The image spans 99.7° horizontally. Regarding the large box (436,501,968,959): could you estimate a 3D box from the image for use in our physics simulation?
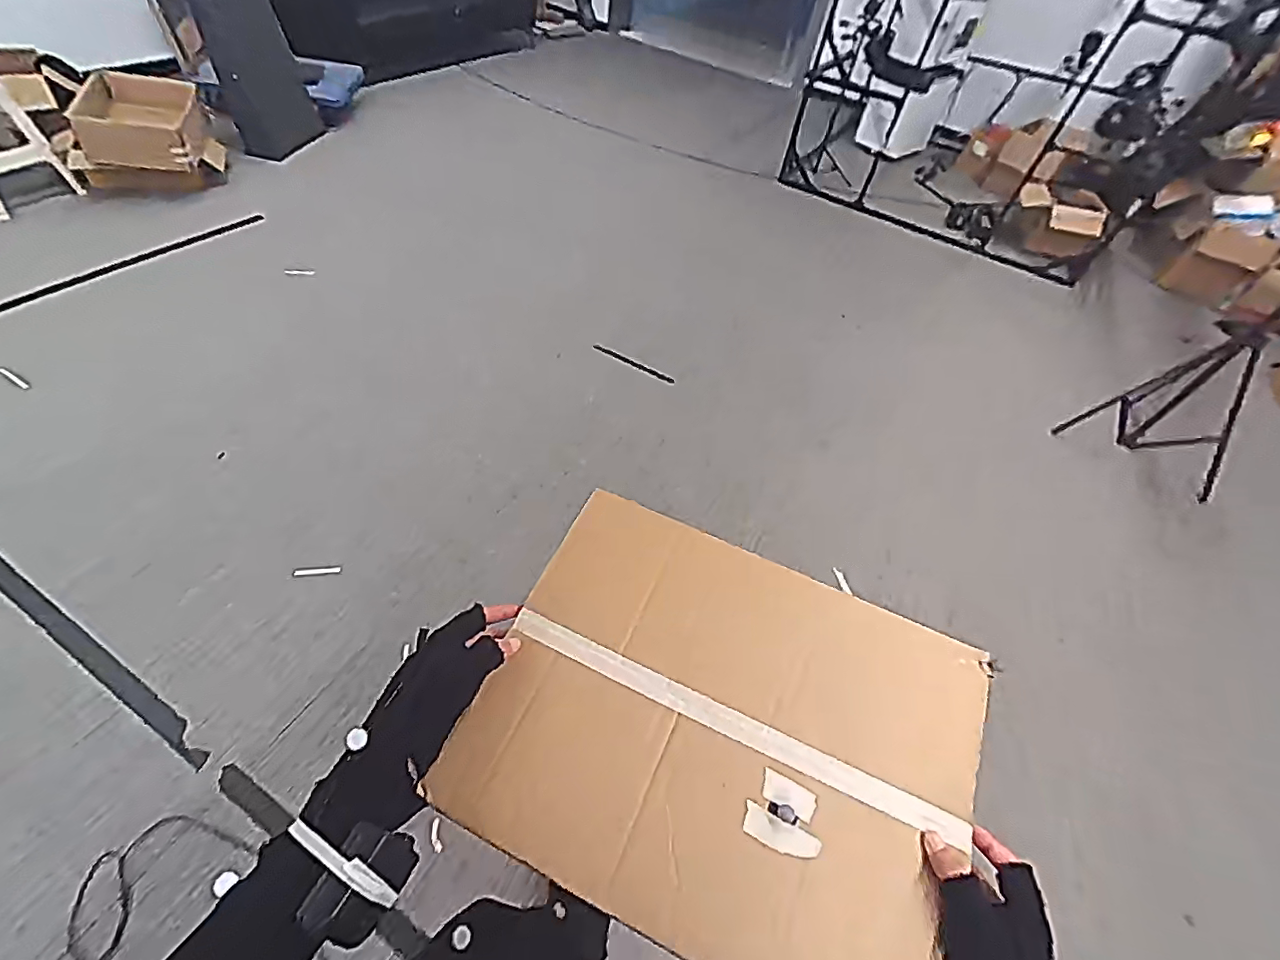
[{"bbox_3d":[0.065,0.286,0.604,0.408,0.320,0.320,23,61,11],"label":"large box"}]
